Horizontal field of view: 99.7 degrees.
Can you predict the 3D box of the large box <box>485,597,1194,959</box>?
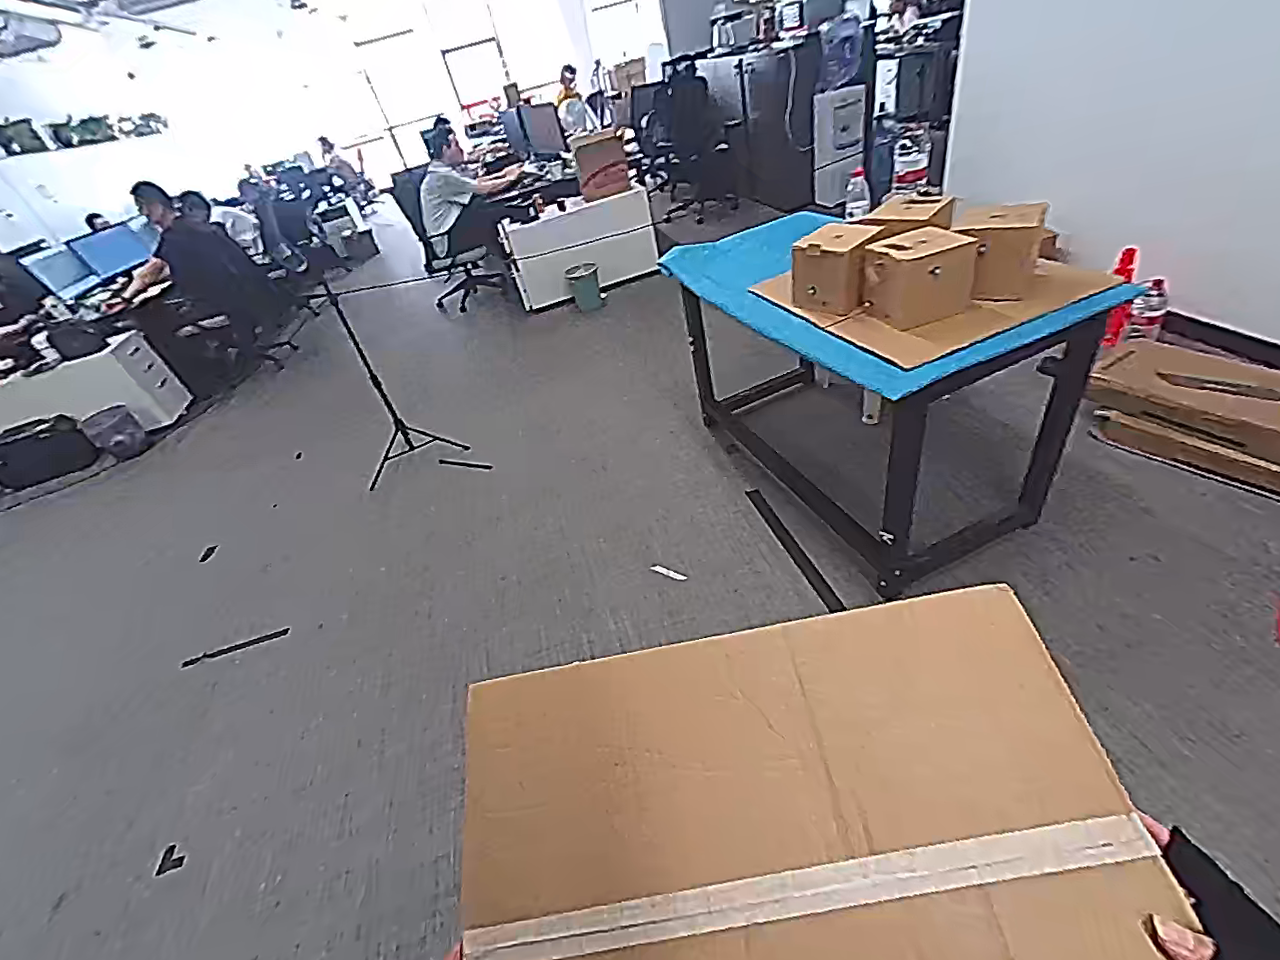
[{"bbox_3d":[0.118,0.333,0.453,0.408,0.320,0.320,-12,58,3],"label":"large box"}]
